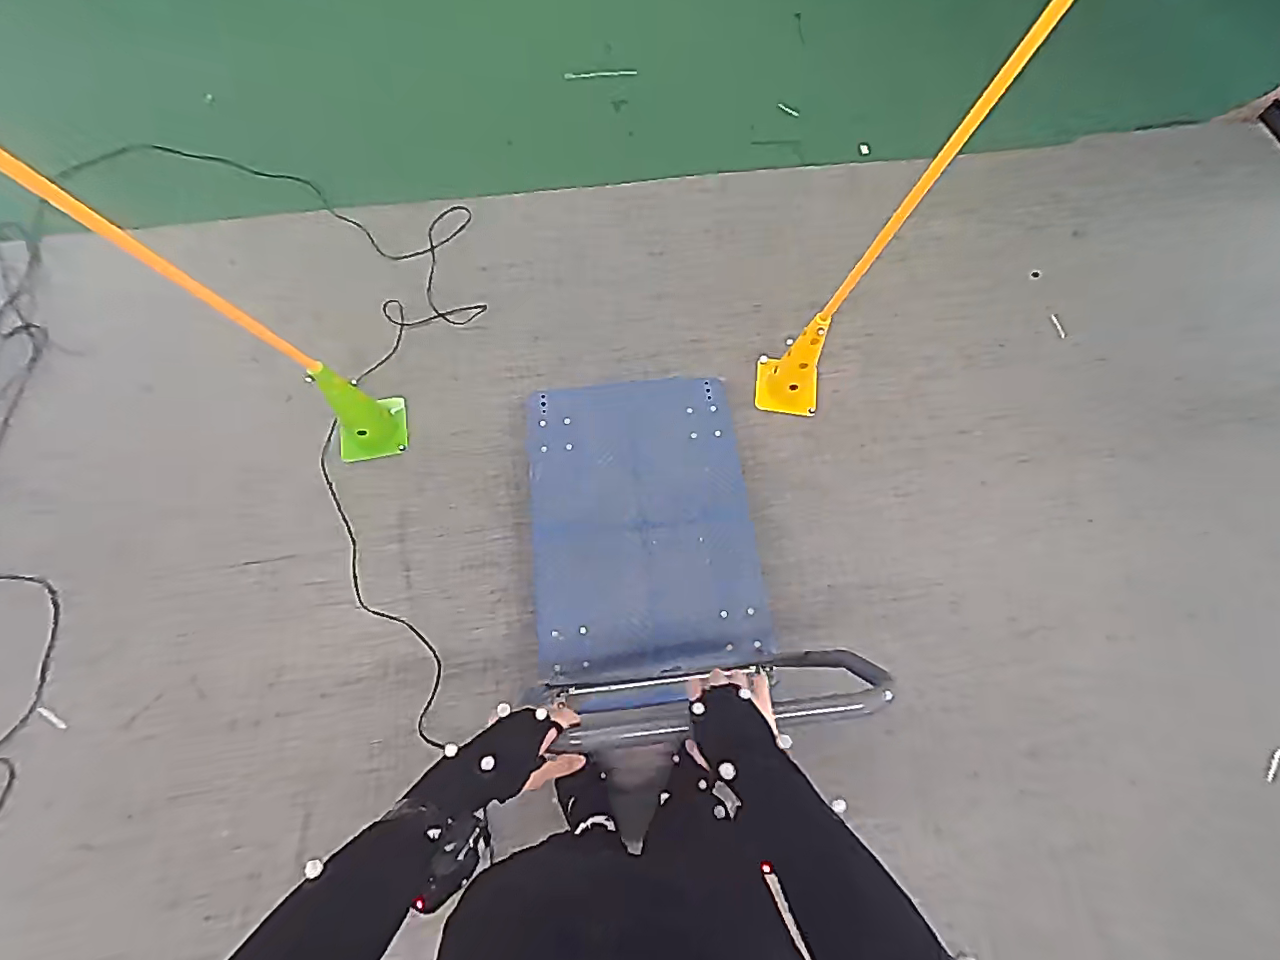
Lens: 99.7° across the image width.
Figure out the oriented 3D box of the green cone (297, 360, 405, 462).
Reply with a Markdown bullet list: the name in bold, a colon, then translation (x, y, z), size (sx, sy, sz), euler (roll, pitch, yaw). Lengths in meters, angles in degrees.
- **green cone**: translation (-0.834, -0.223, 1.515), size (0.202, 0.368, 0.200), euler (-12, 69, -5)
